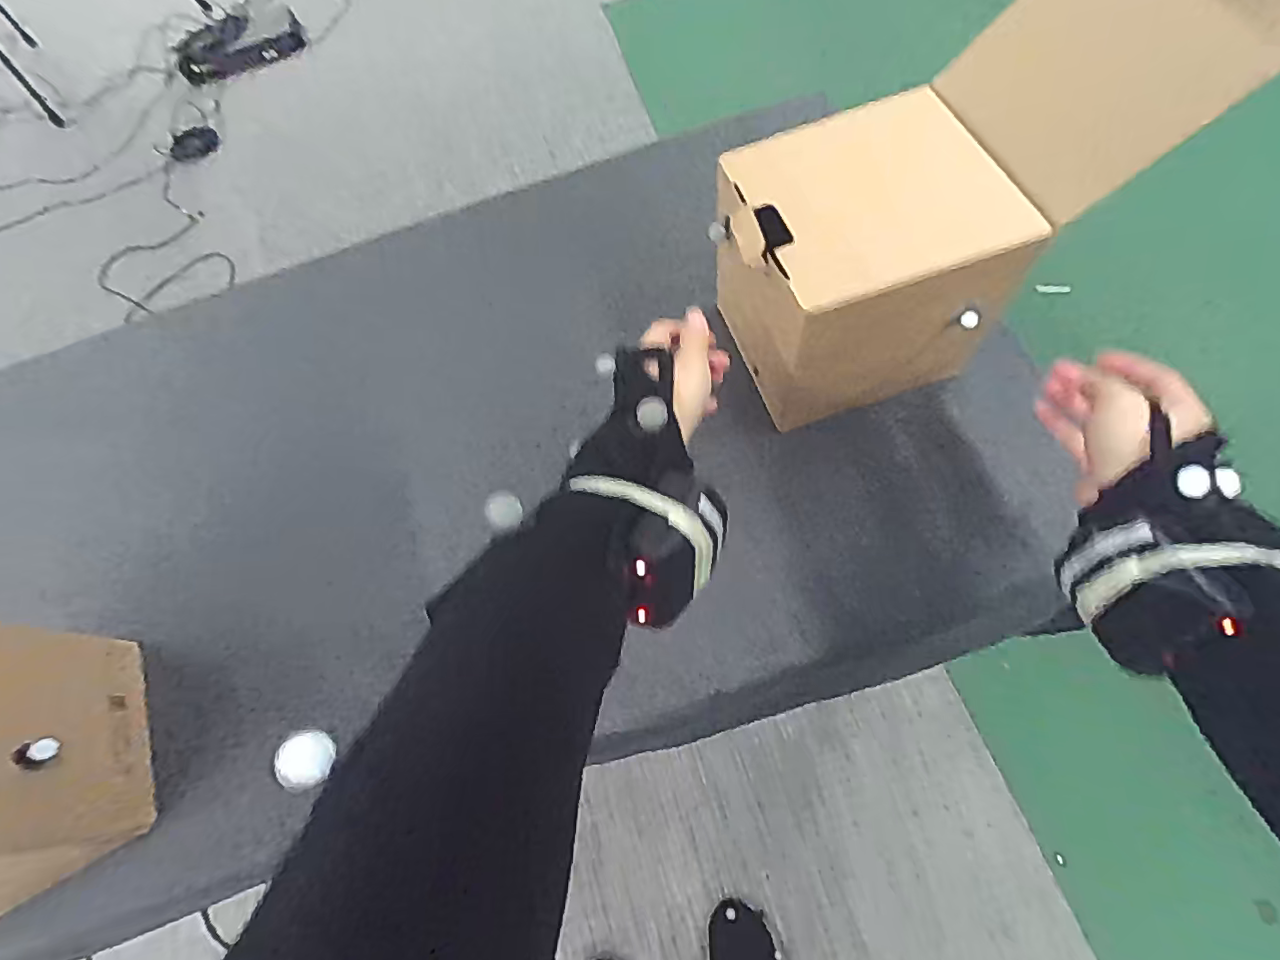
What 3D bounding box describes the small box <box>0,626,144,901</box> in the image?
[{"bbox_3d":[-0.511,0.215,0.391,0.179,0.176,0.168,-29,66,-4],"label":"small box"}]
